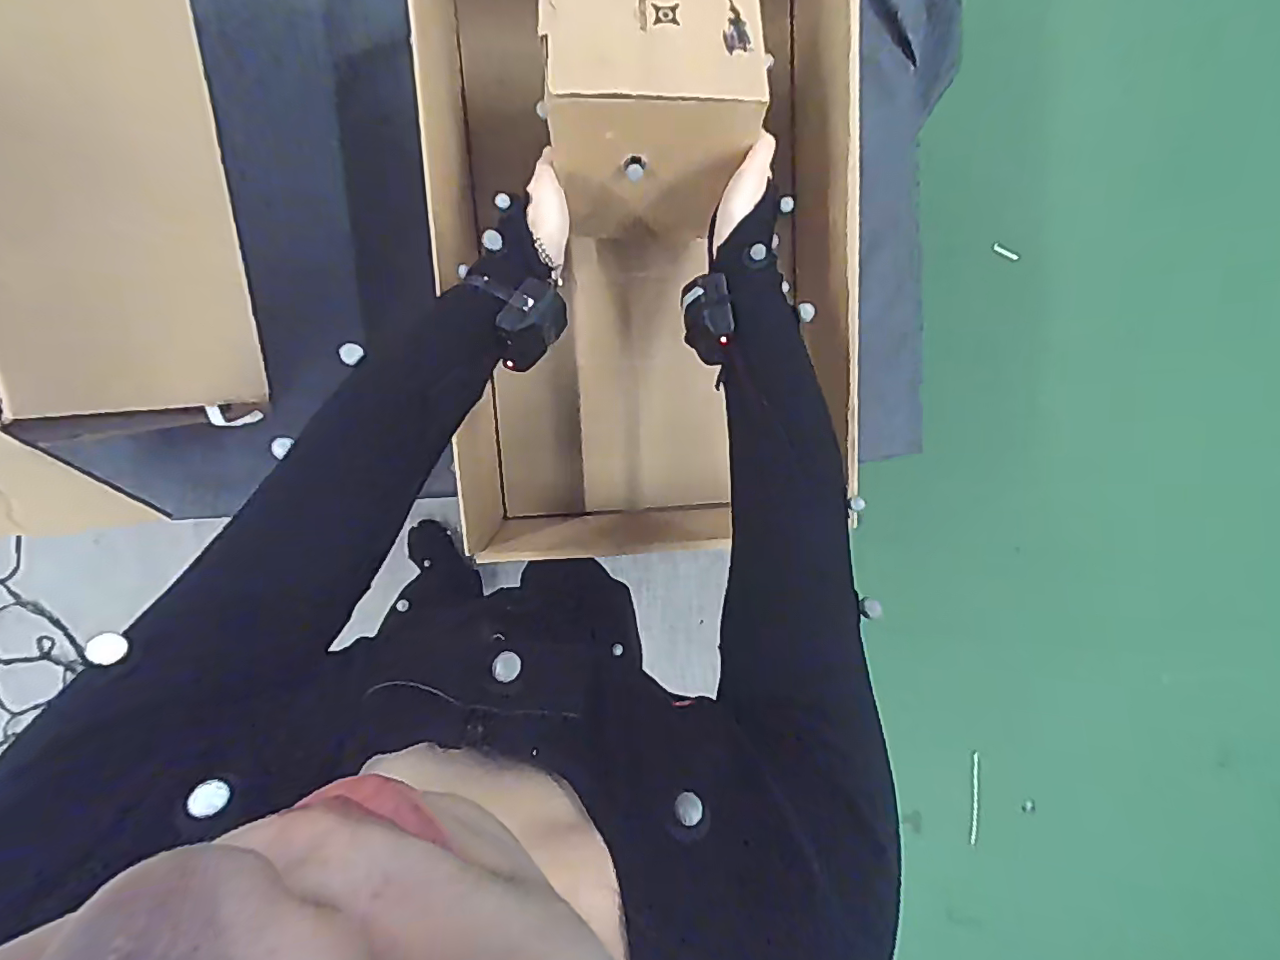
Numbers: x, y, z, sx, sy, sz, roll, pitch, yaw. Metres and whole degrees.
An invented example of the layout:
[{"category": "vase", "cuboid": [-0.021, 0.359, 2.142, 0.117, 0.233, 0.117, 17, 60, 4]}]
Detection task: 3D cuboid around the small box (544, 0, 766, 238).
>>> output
[{"category": "small box", "cuboid": [0.008, -0.352, 0.513, 0.179, 0.176, 0.168, -1, 79, -3]}]
